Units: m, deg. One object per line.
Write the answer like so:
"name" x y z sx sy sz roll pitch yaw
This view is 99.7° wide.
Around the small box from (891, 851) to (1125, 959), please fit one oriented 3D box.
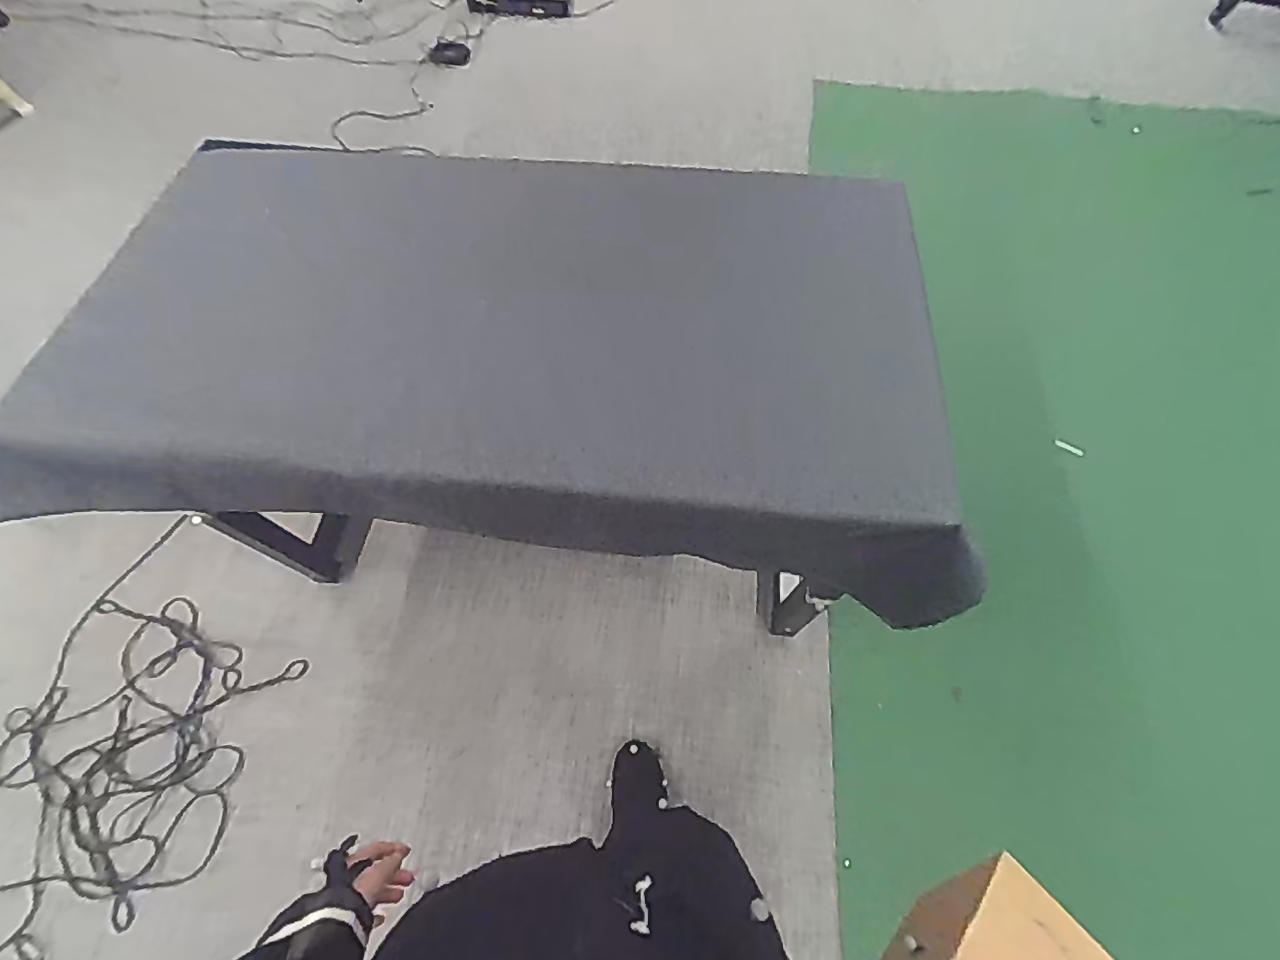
"small box" 0.378 0.539 0.550 0.179 0.176 0.168 -14 48 -42
